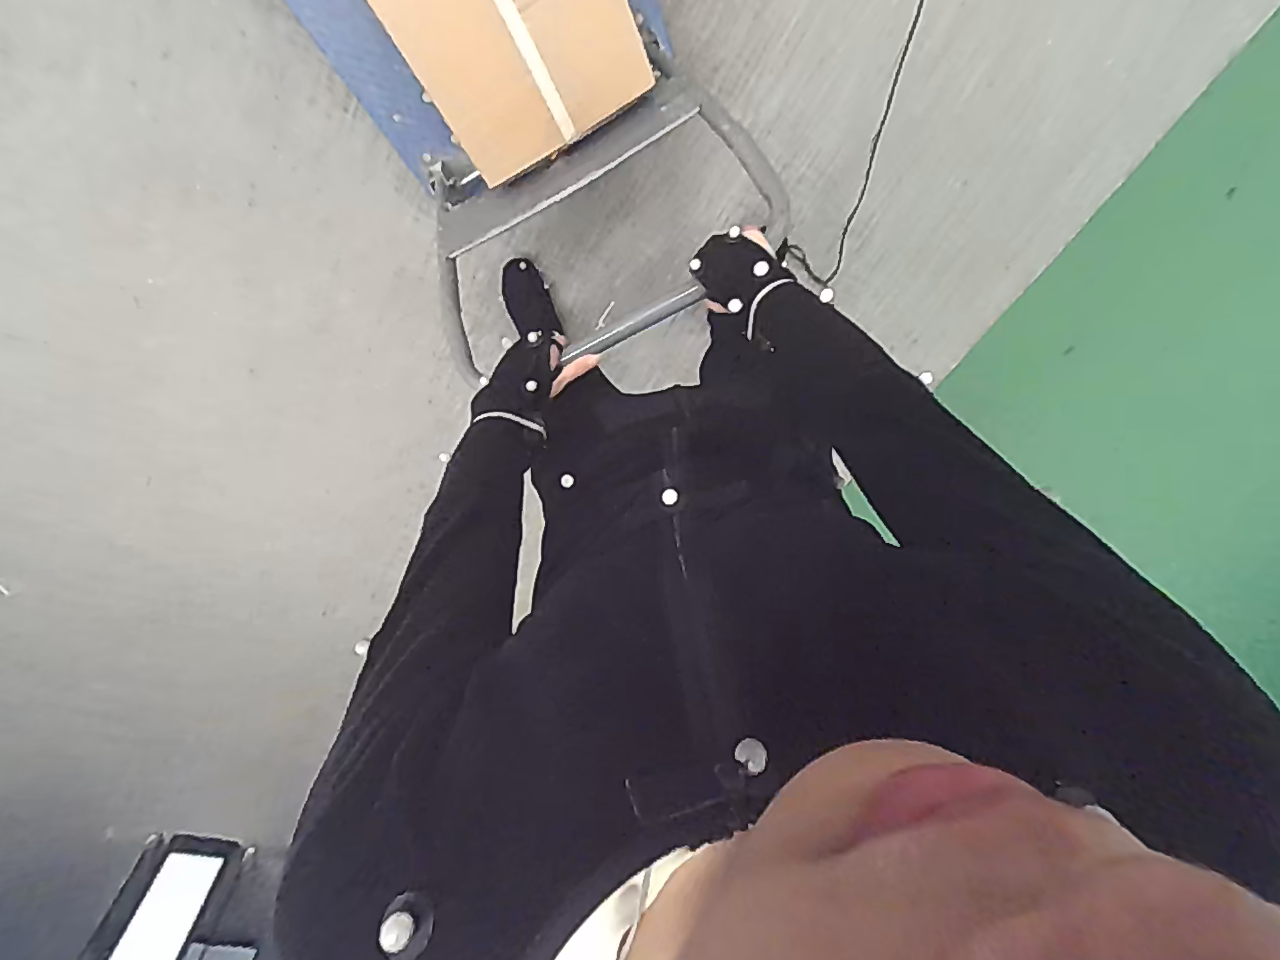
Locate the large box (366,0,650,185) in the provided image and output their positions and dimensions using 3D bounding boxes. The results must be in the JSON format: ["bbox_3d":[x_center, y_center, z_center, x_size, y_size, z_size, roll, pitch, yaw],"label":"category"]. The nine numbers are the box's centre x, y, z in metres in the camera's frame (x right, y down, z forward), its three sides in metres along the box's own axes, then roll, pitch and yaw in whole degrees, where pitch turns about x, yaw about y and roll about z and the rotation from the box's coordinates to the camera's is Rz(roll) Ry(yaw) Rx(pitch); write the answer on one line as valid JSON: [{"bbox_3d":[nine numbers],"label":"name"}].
[{"bbox_3d":[-0.228,-0.775,0.844,0.320,0.320,0.408,-26,137,10],"label":"large box"}]
